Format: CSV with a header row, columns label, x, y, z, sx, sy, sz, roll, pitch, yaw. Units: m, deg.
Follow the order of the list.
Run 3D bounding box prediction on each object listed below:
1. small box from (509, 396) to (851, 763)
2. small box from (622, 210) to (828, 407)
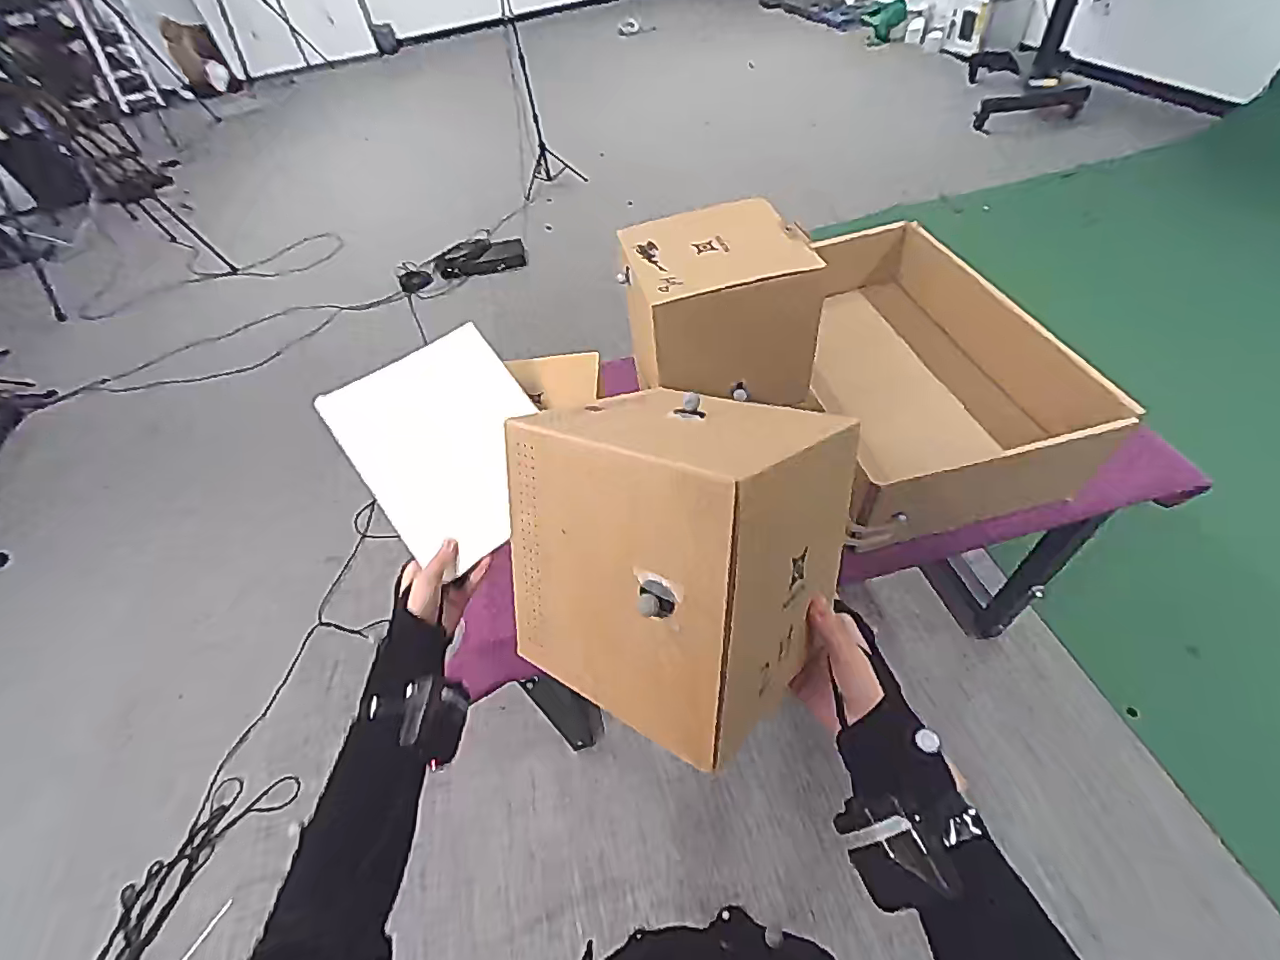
label,x,y,z,sx,sy,sz,roll,pitch,yaw
small box,0.026,0.039,0.372,0.176,0.179,0.168,15,22,36
small box,0.085,-0.176,0.615,0.179,0.176,0.168,-13,48,-4
